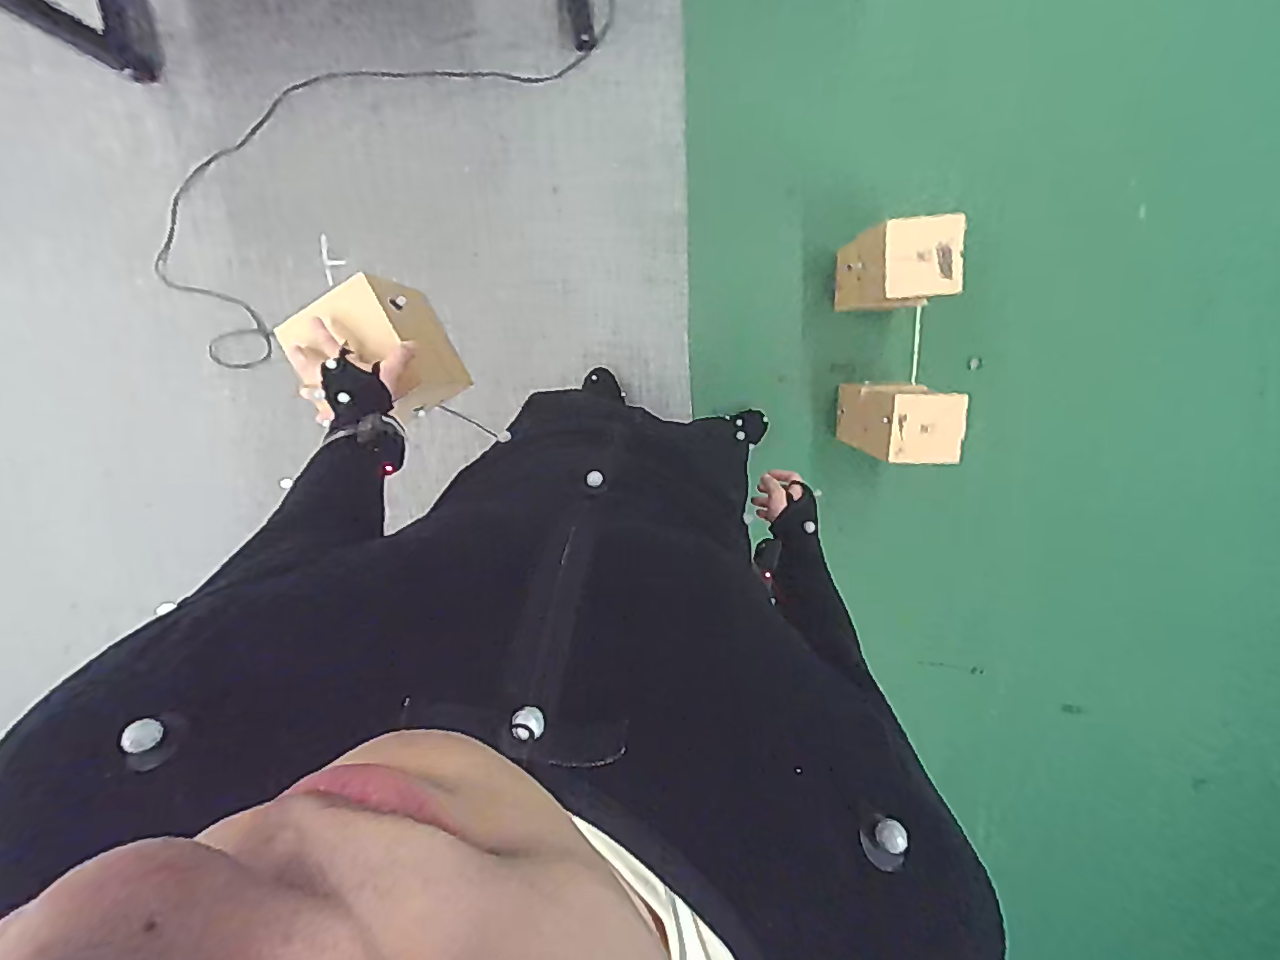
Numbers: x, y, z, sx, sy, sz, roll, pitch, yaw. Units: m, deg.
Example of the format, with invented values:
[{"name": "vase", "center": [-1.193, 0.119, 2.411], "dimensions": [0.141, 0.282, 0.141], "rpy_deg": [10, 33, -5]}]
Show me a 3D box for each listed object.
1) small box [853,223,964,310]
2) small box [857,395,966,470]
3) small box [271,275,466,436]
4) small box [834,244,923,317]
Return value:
[{"name": "small box", "center": [0.625, -0.497, 1.274], "dimensions": [0.179, 0.176, 0.168], "rpy_deg": [-4, 103, 1]}, {"name": "small box", "center": [0.675, -0.125, 1.360], "dimensions": [0.179, 0.176, 0.168], "rpy_deg": [1, 103, -1]}, {"name": "small box", "center": [-0.406, -0.184, 0.838], "dimensions": [0.168, 0.176, 0.179], "rpy_deg": [-27, 96, 11]}, {"name": "small box", "center": [0.631, -0.526, 1.437], "dimensions": [0.179, 0.176, 0.168], "rpy_deg": [-1, 103, -1]}]
